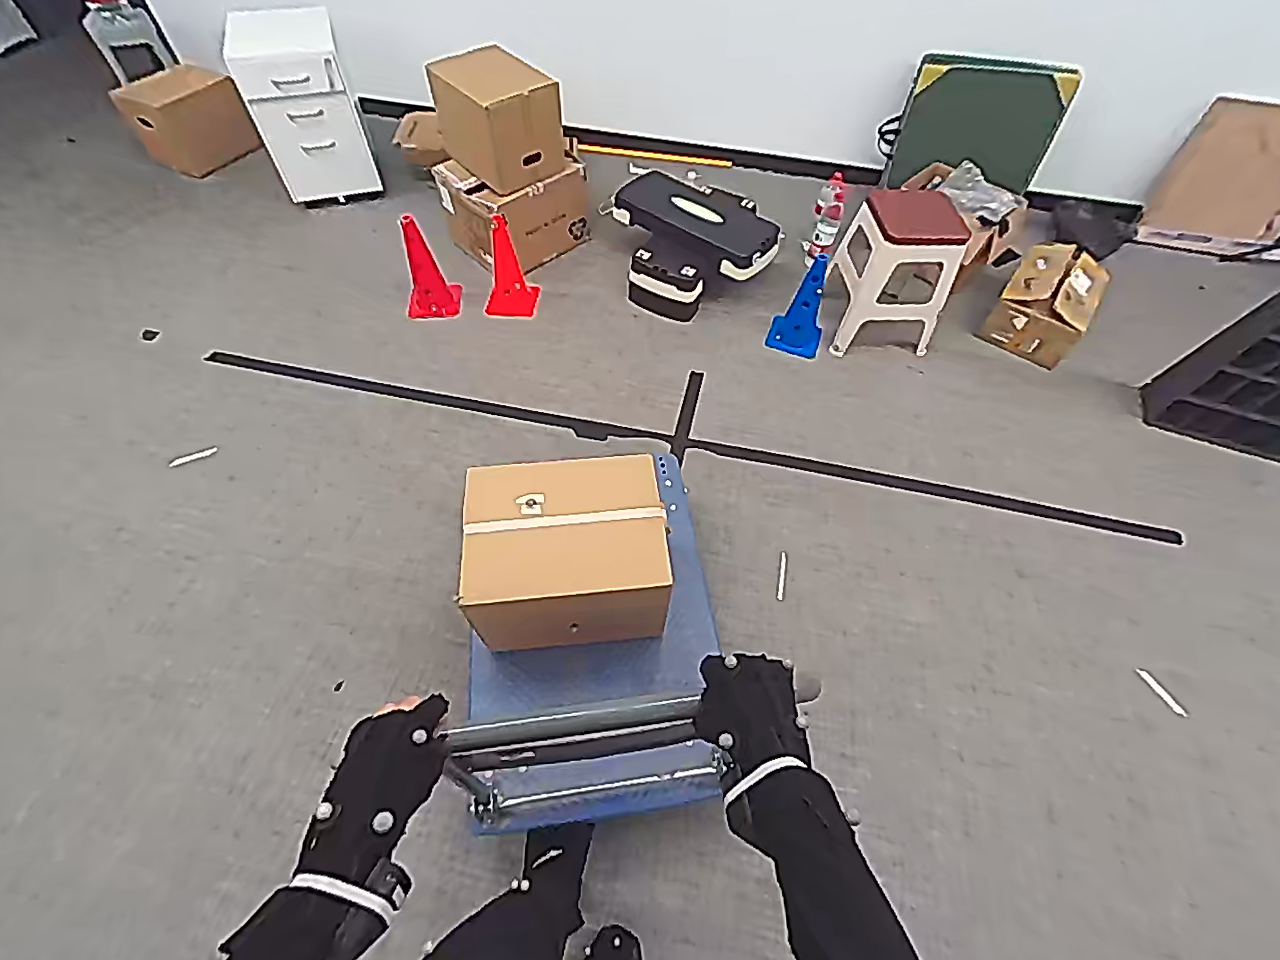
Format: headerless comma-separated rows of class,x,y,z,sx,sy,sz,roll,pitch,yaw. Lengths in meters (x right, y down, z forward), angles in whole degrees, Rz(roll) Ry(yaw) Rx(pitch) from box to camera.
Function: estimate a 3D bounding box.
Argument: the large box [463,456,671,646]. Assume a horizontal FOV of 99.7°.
large box,-0.156,0.171,1.238,0.408,0.320,0.320,-5,57,-4
